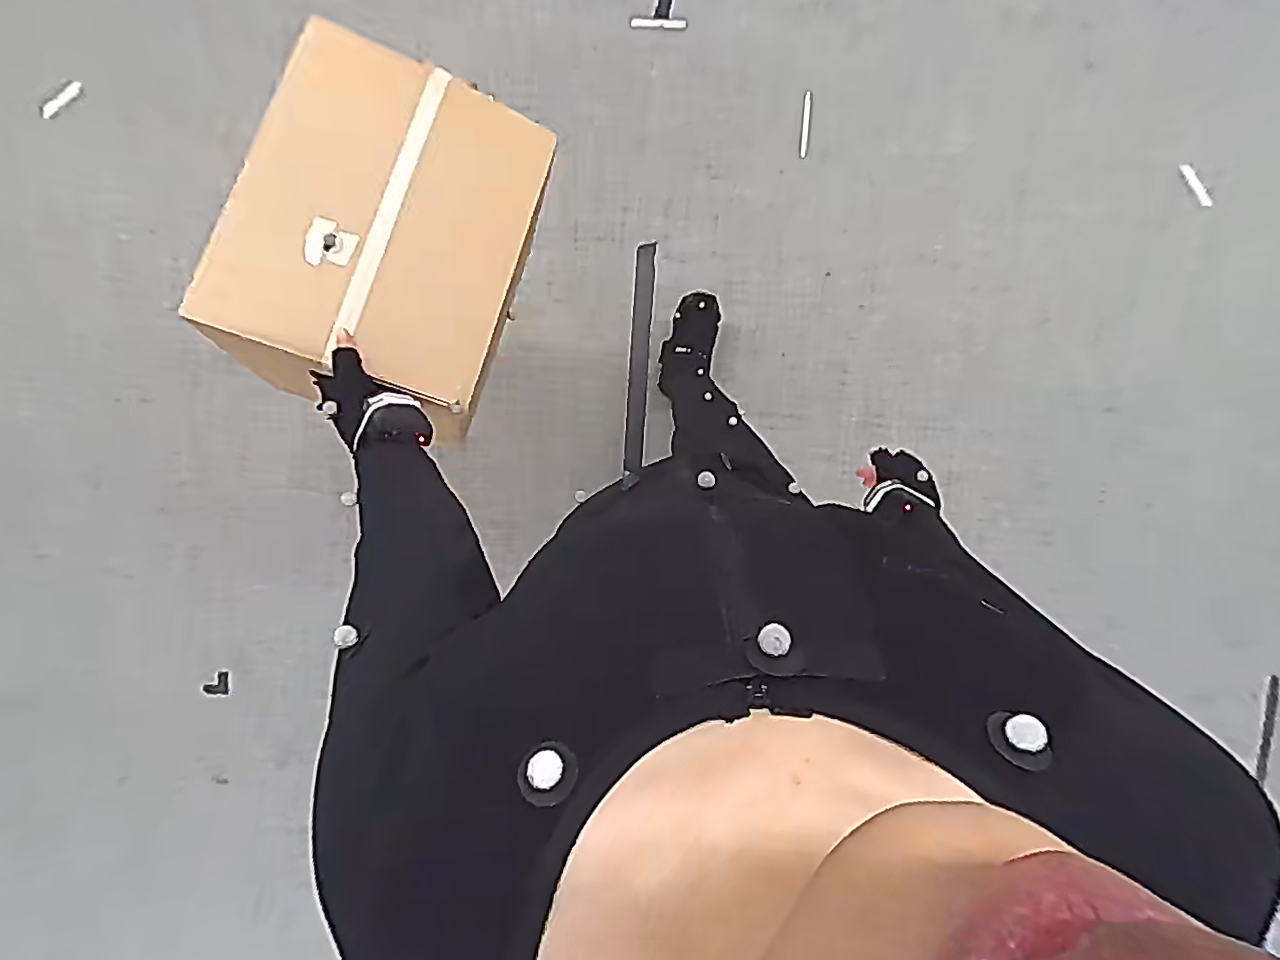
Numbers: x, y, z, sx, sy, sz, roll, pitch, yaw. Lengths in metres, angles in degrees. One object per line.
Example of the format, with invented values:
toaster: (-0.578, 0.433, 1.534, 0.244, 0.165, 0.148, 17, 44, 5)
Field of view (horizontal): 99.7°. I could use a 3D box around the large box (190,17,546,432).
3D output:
large box: (-0.363, -0.322, 0.809, 0.320, 0.320, 0.408, 18, 82, -17)
